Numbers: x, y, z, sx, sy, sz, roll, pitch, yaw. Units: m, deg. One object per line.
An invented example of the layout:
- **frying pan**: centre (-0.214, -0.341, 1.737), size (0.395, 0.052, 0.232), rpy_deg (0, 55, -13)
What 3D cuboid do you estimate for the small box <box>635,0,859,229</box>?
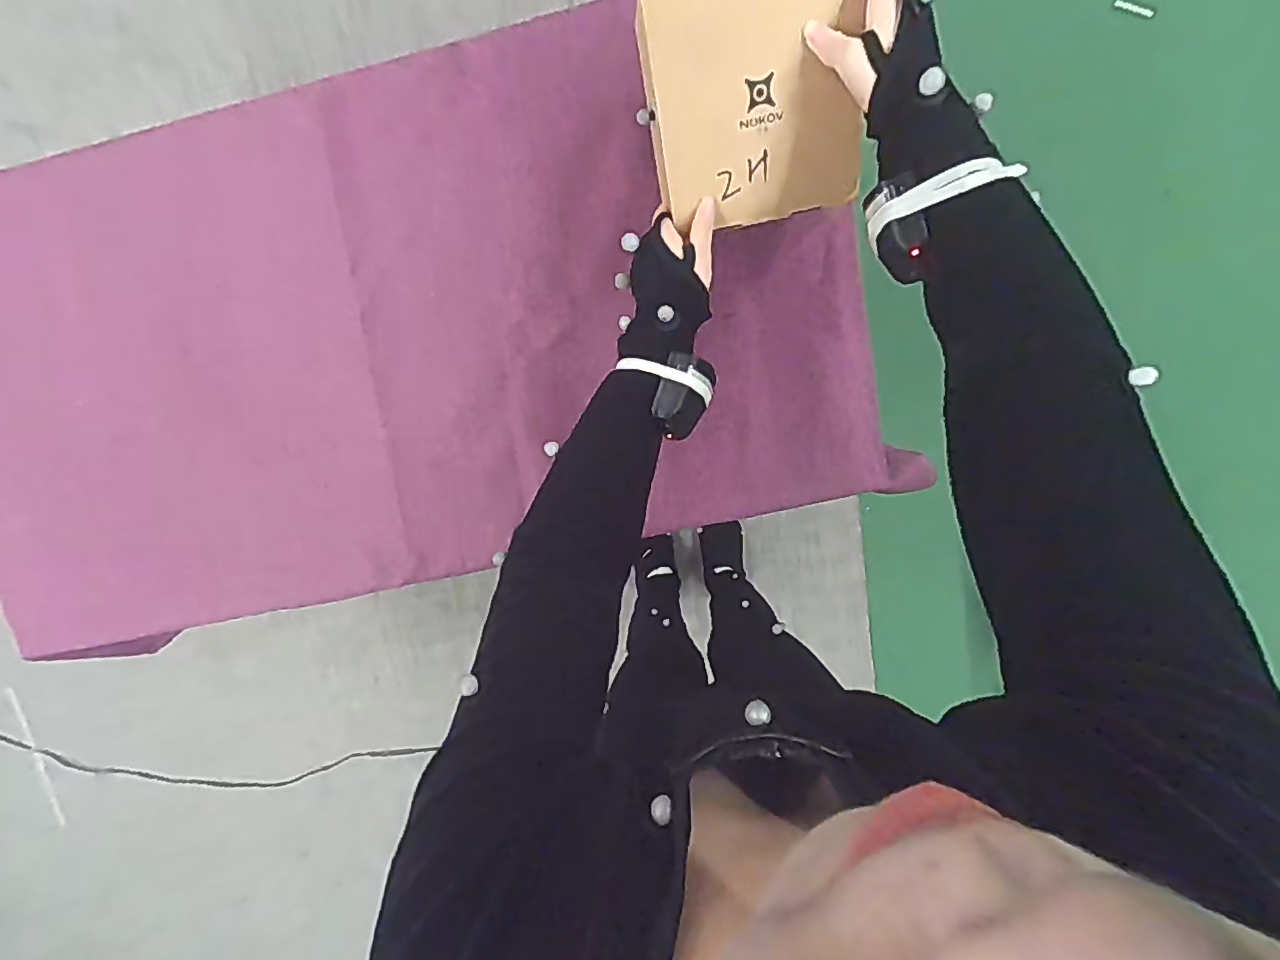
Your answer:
- **small box**: centre (0.089, -0.352, 0.501), size (0.168, 0.176, 0.179), rpy_deg (-9, 124, 5)
